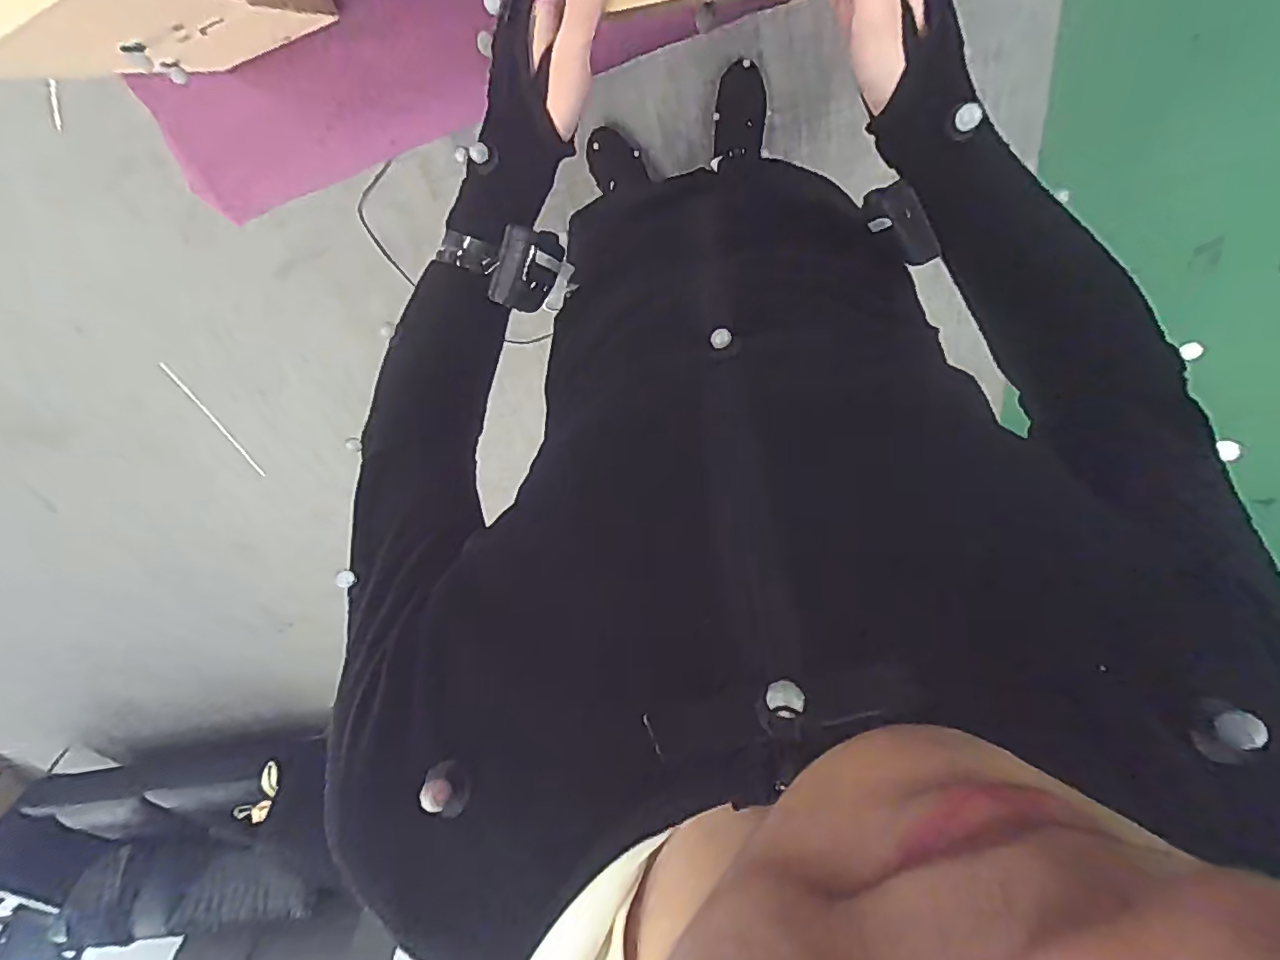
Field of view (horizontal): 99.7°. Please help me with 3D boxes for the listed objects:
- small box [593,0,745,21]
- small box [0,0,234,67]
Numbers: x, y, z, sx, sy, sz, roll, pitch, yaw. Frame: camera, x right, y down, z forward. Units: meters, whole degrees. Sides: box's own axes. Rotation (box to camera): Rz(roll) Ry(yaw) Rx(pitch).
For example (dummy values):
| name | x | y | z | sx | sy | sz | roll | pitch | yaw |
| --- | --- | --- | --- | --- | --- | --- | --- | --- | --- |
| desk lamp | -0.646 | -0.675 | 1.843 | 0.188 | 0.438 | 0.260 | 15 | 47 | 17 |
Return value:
| name | x | y | z | sx | sy | sz | roll | pitch | yaw |
| --- | --- | --- | --- | --- | --- | --- | --- | --- | --- |
| small box | 0.044 | -0.424 | 0.353 | 0.179 | 0.176 | 0.168 | -9 | 127 | 2 |
| small box | -0.447 | -0.415 | 0.373 | 0.168 | 0.176 | 0.179 | -14 | 127 | 13 |
